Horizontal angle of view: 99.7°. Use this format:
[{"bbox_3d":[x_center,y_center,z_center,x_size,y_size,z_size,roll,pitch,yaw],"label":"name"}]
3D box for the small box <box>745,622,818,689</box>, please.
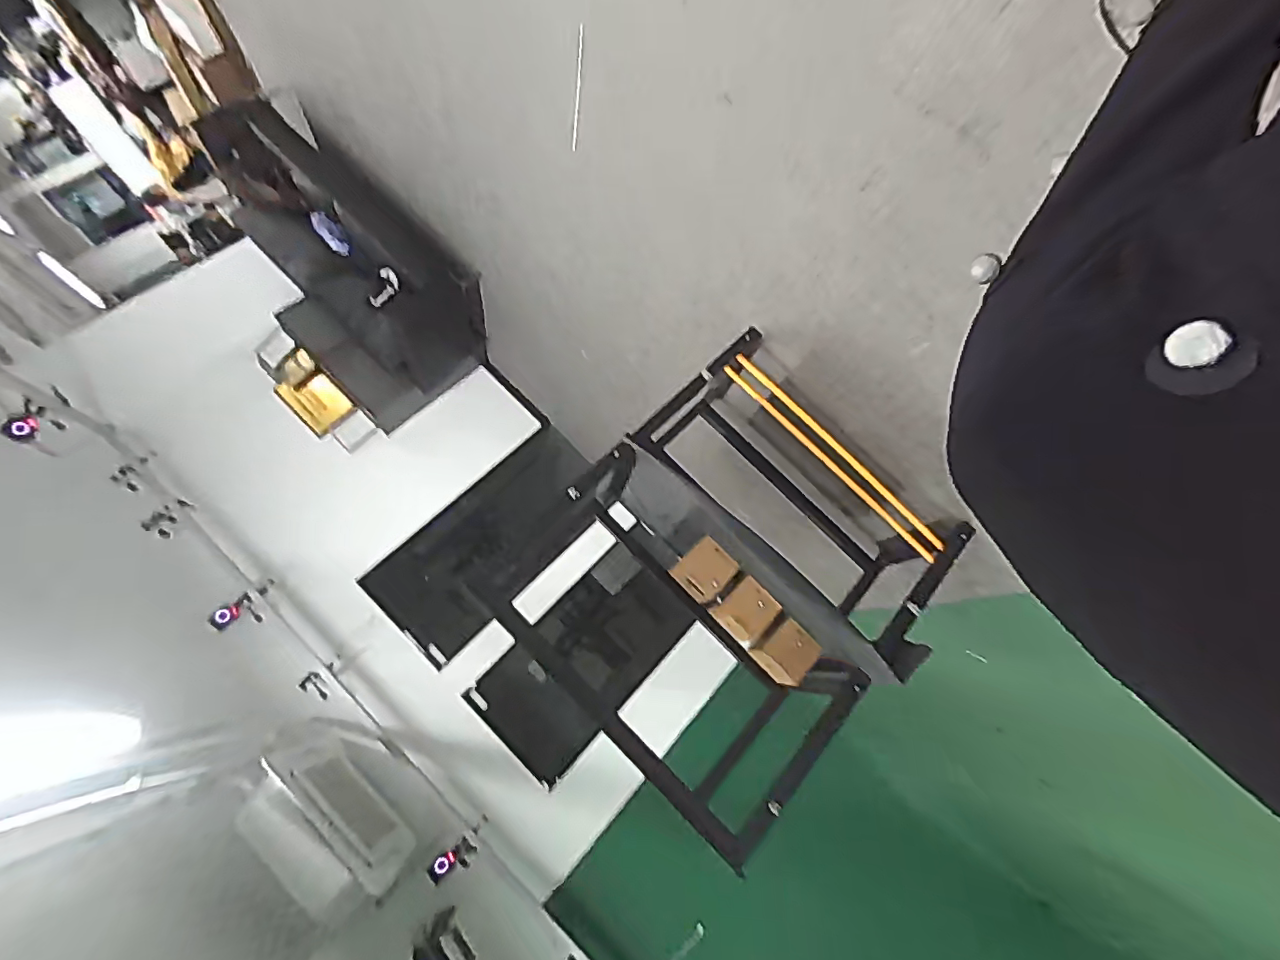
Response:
[{"bbox_3d":[0.523,0.643,1.994,0.168,0.176,0.179,44,160,6],"label":"small box"}]
